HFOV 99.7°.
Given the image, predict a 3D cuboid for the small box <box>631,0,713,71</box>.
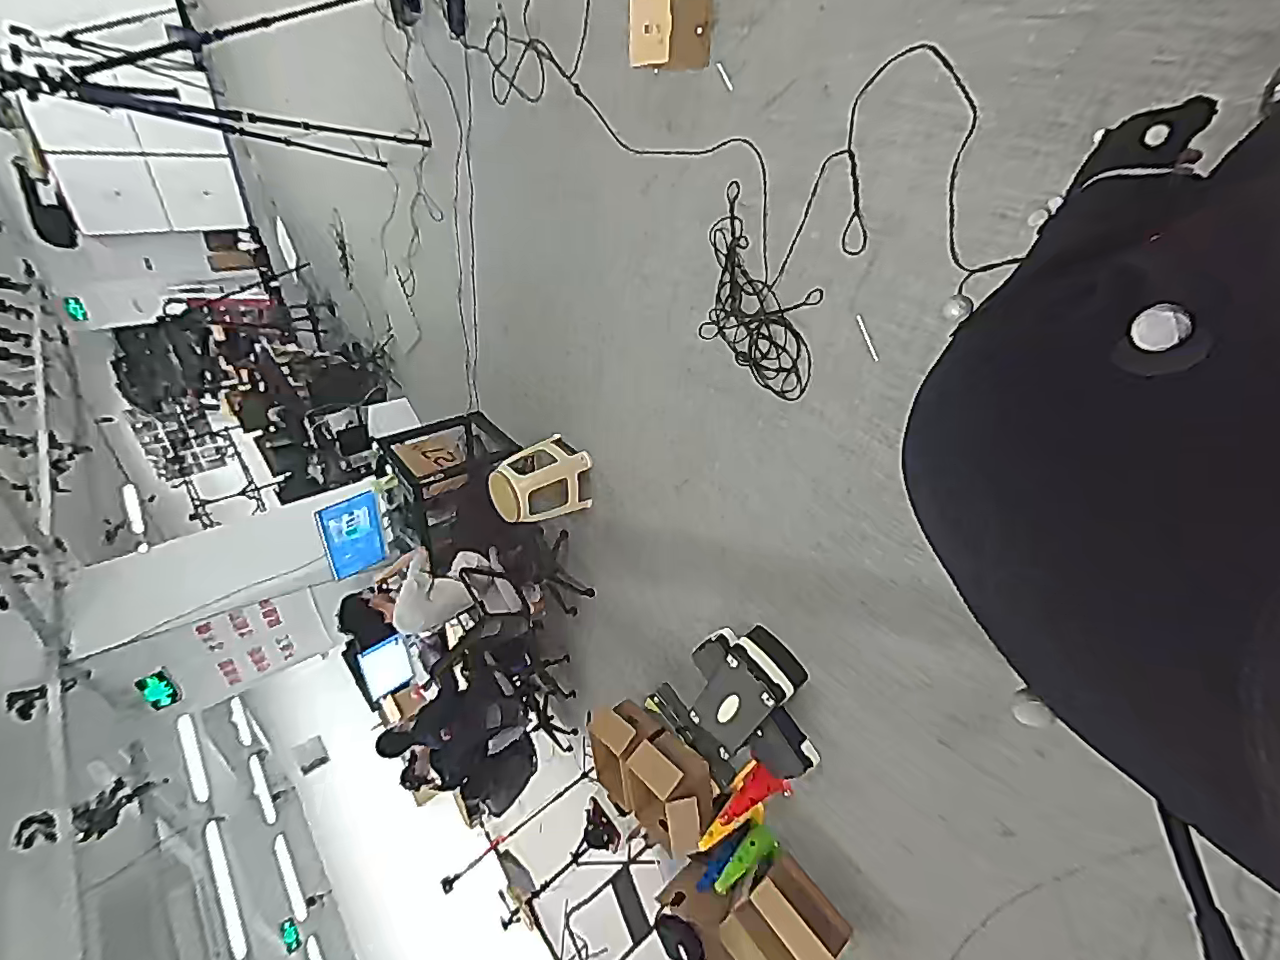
[{"bbox_3d":[0.092,-1.323,1.596,0.179,0.176,0.168,31,133,39],"label":"small box"}]
